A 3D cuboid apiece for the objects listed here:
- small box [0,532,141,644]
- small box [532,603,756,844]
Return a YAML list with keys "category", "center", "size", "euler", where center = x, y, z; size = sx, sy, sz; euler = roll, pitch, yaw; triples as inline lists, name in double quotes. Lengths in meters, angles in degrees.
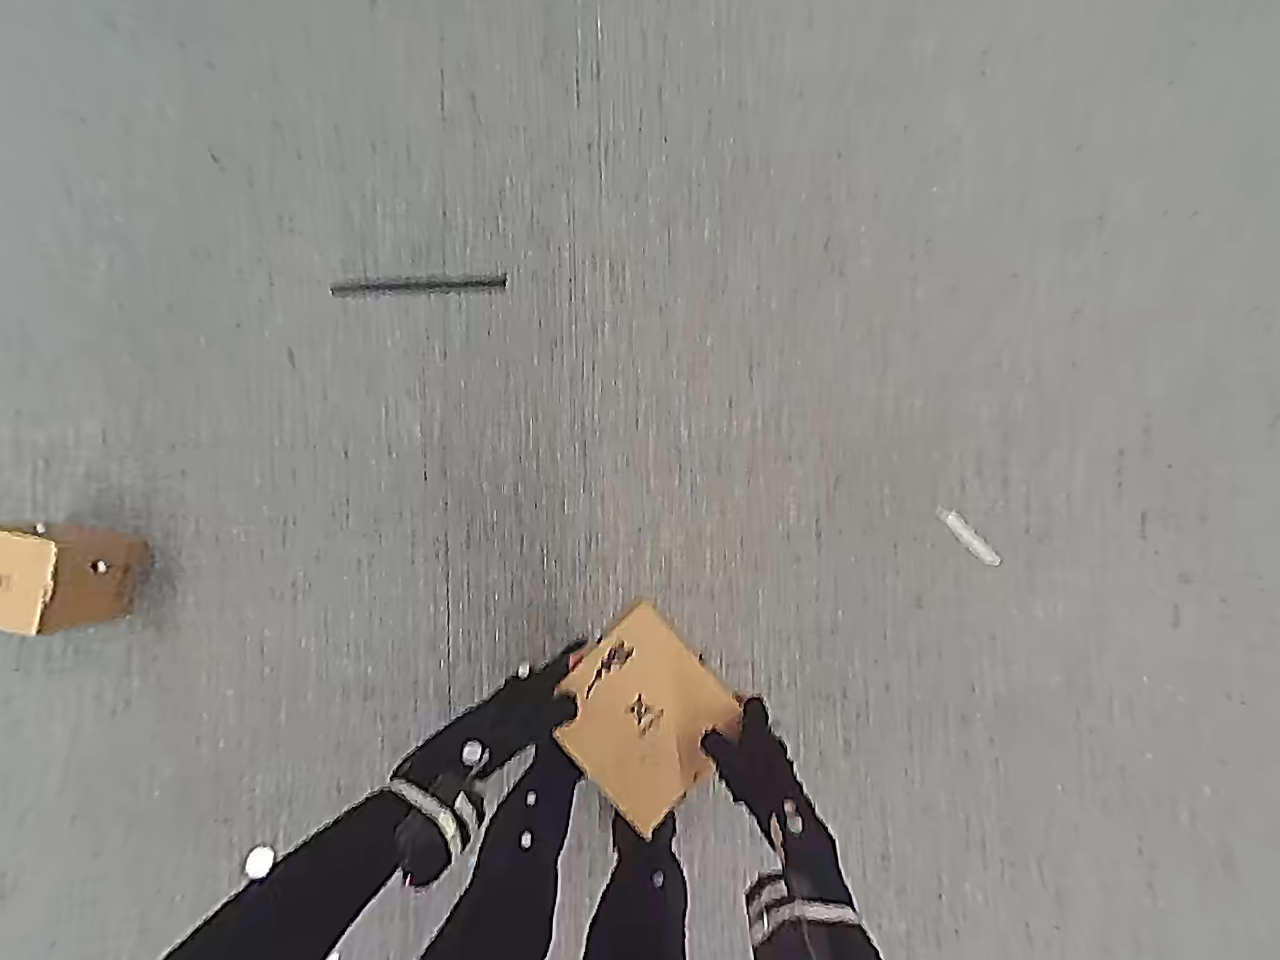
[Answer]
- category: "small box"
  center: [-1.106, 0.193, 1.015]
  size: [0.179, 0.176, 0.168]
  euler: [11, 85, 1]
- category: "small box"
  center: [0.004, 0.262, 0.637]
  size: [0.168, 0.176, 0.179]
  euler: [-44, 84, -7]
